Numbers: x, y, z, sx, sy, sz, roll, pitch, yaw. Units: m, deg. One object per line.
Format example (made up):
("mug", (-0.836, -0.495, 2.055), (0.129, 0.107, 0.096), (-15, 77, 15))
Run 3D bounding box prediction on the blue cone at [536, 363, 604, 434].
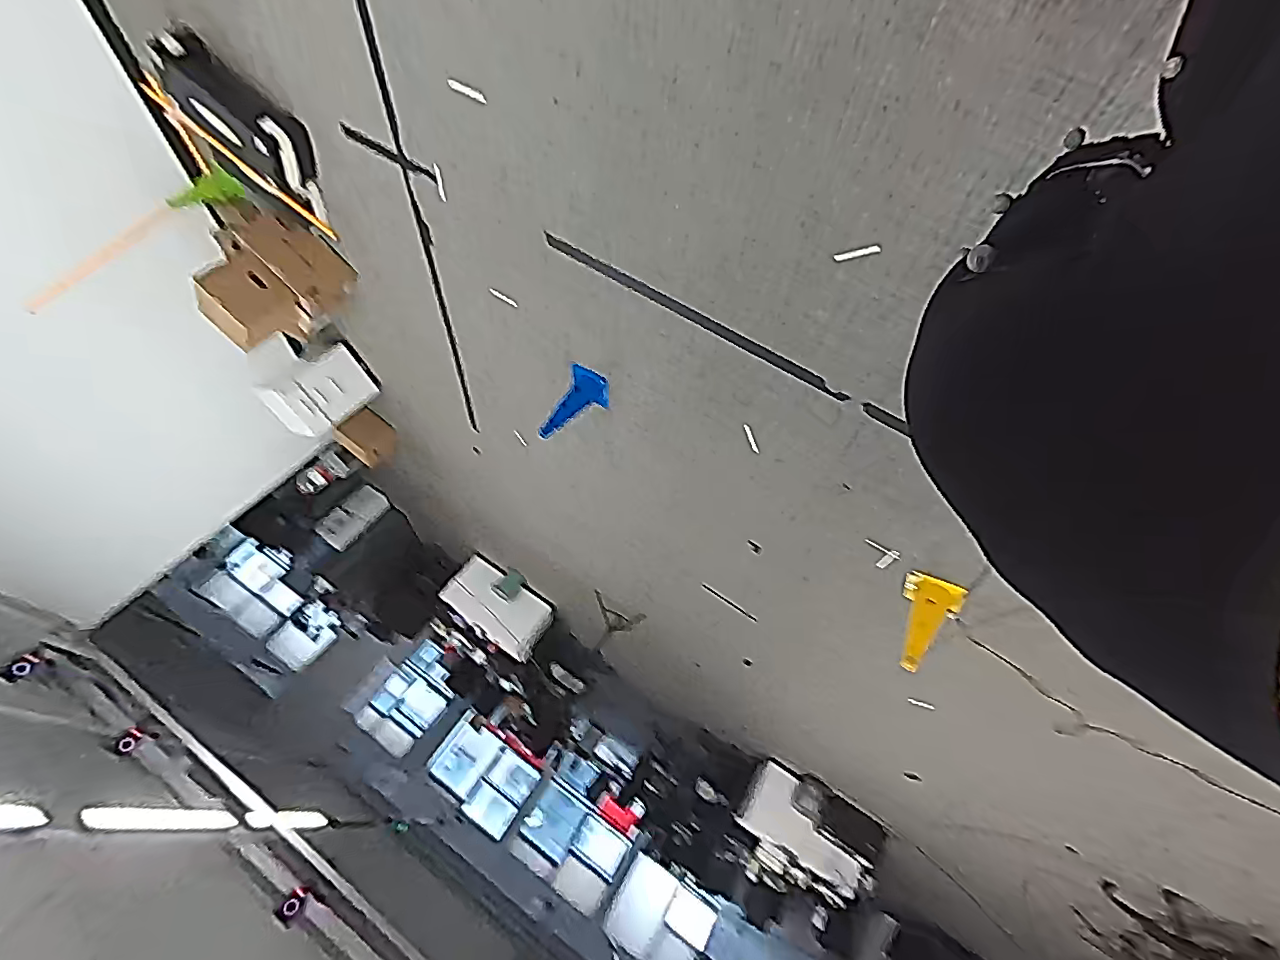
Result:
("blue cone", (-0.336, -0.332, 2.426), (0.193, 0.380, 0.192), (29, 149, 17))
